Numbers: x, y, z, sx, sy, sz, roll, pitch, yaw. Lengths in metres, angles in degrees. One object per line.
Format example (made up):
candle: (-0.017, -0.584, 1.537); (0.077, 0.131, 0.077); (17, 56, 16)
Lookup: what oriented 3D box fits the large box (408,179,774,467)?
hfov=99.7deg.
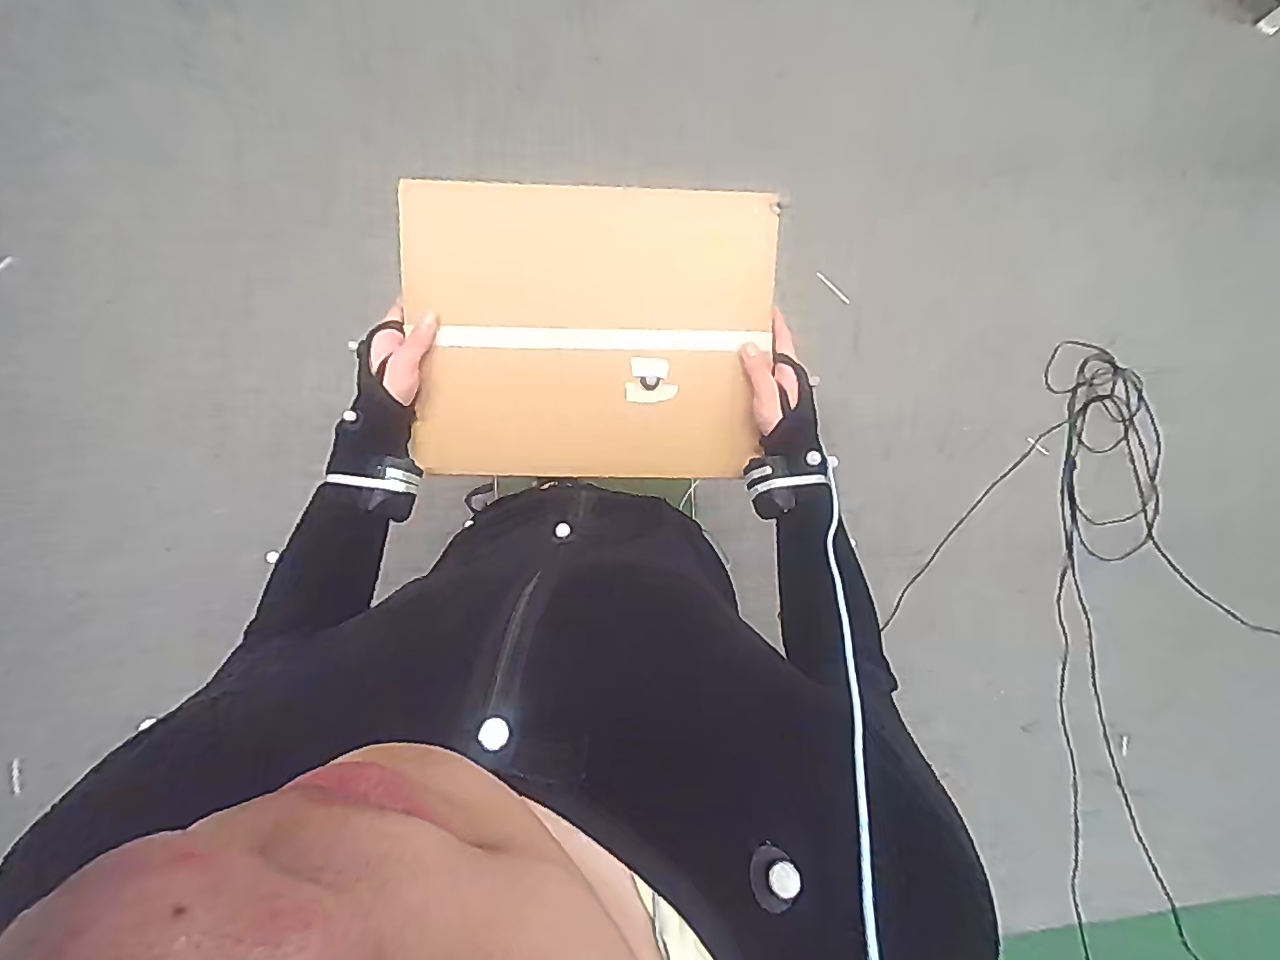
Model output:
large box: (-0.060, -0.193, 0.756); (0.408, 0.320, 0.320); (0, 100, -3)
